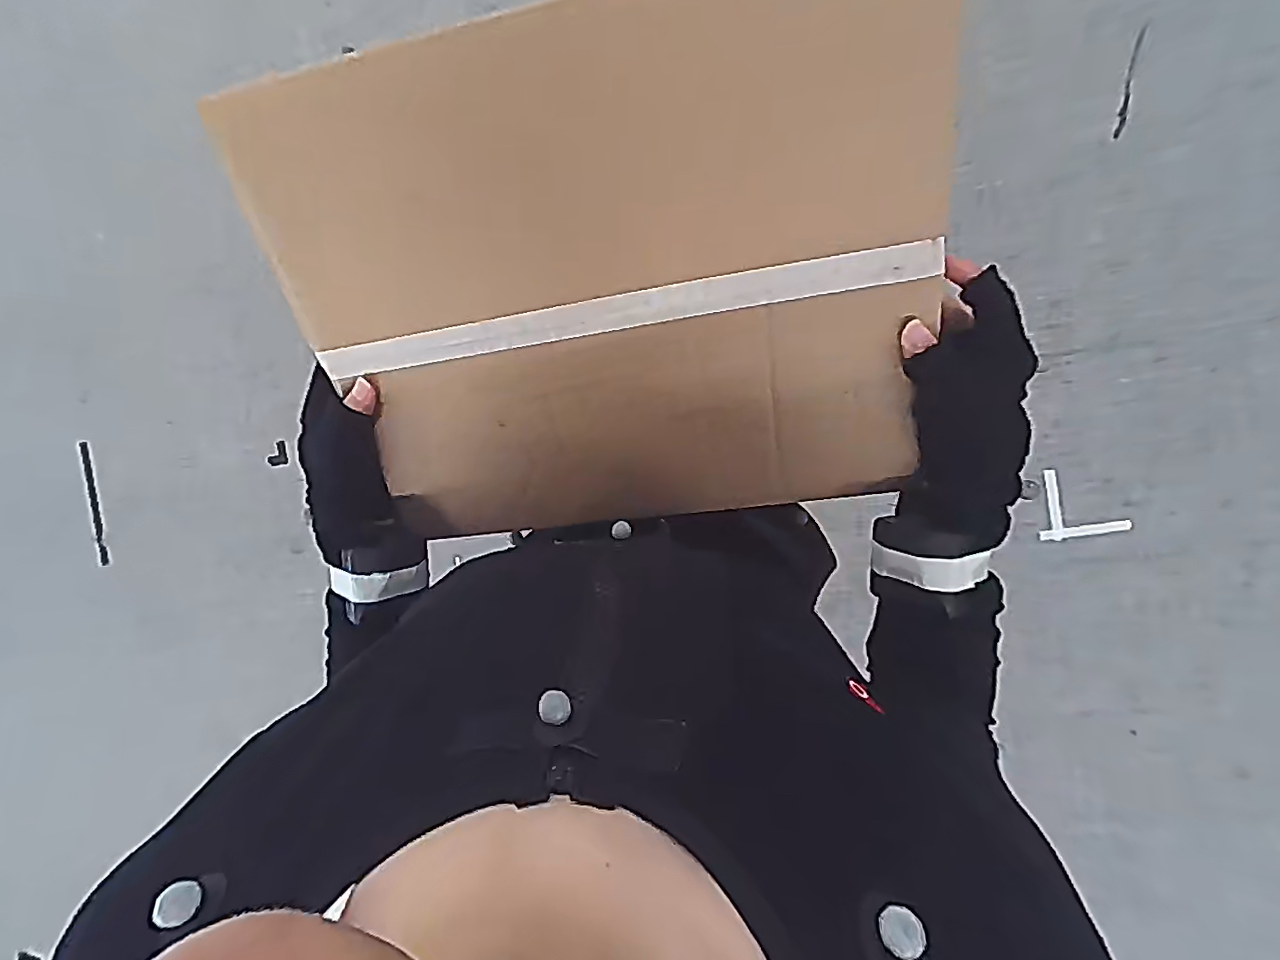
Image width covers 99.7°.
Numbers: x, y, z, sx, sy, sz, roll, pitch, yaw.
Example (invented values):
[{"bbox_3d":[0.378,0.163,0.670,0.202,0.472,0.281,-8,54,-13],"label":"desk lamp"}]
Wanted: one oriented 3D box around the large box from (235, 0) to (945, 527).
[{"bbox_3d":[-0.009,-0.188,0.483,0.408,0.320,0.320,-7,120,10],"label":"large box"}]
